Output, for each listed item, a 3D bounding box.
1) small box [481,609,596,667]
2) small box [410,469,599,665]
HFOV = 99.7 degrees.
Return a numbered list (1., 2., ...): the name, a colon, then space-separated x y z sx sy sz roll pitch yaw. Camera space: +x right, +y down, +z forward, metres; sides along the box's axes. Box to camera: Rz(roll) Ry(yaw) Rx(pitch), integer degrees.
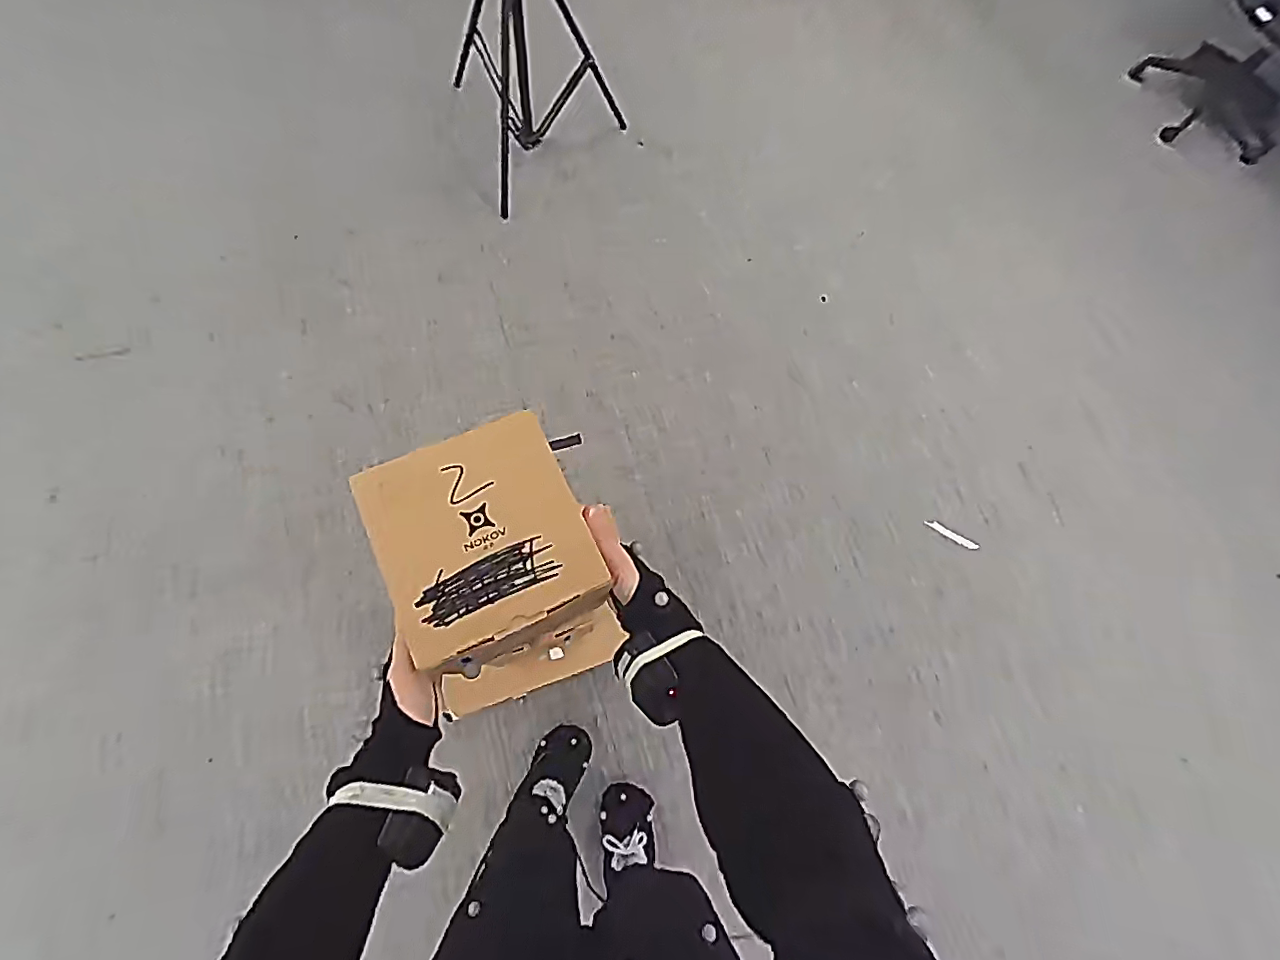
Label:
1. small box: -0.173 0.175 0.833 0.168 0.176 0.179 -18 72 -14
2. small box: -0.161 0.116 0.679 0.168 0.176 0.179 -22 74 -15
